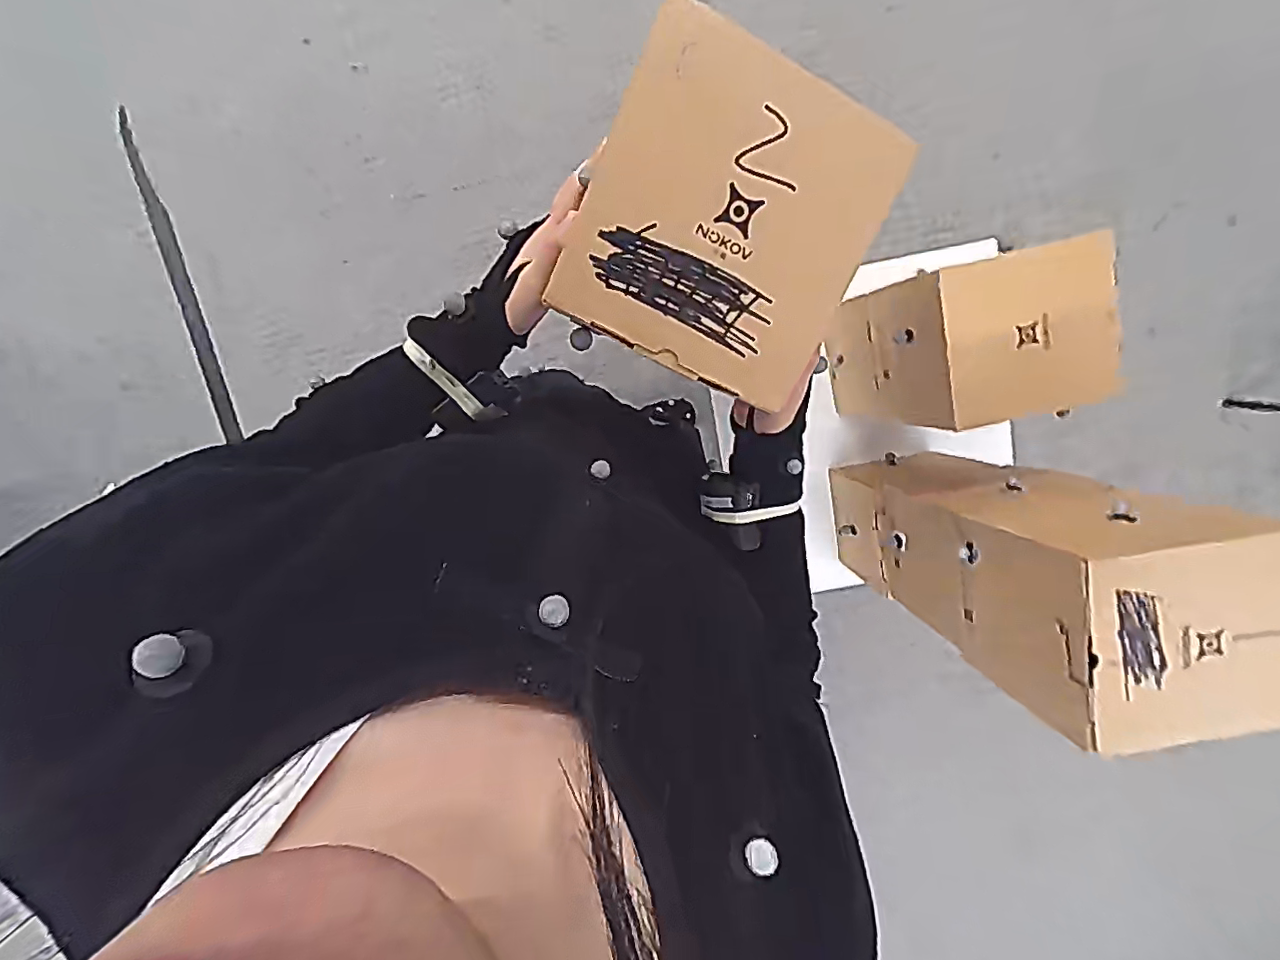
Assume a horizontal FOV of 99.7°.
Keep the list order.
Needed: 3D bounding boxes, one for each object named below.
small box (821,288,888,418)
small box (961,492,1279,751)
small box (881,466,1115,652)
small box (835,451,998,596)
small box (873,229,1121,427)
[{"bbox_3d":[0.383,-0.192,0.773,0.179,0.176,0.168,-13,100,1],"label":"small box"},{"bbox_3d":[0.423,0.112,0.496,0.179,0.176,0.168,-9,99,-2],"label":"small box"},{"bbox_3d":[0.421,0.083,0.658,0.179,0.176,0.168,-10,99,1],"label":"small box"},{"bbox_3d":[0.408,0.057,0.818,0.179,0.176,0.168,-10,100,2],"label":"small box"},{"bbox_3d":[0.384,-0.160,0.613,0.179,0.176,0.168,-12,101,0],"label":"small box"}]
